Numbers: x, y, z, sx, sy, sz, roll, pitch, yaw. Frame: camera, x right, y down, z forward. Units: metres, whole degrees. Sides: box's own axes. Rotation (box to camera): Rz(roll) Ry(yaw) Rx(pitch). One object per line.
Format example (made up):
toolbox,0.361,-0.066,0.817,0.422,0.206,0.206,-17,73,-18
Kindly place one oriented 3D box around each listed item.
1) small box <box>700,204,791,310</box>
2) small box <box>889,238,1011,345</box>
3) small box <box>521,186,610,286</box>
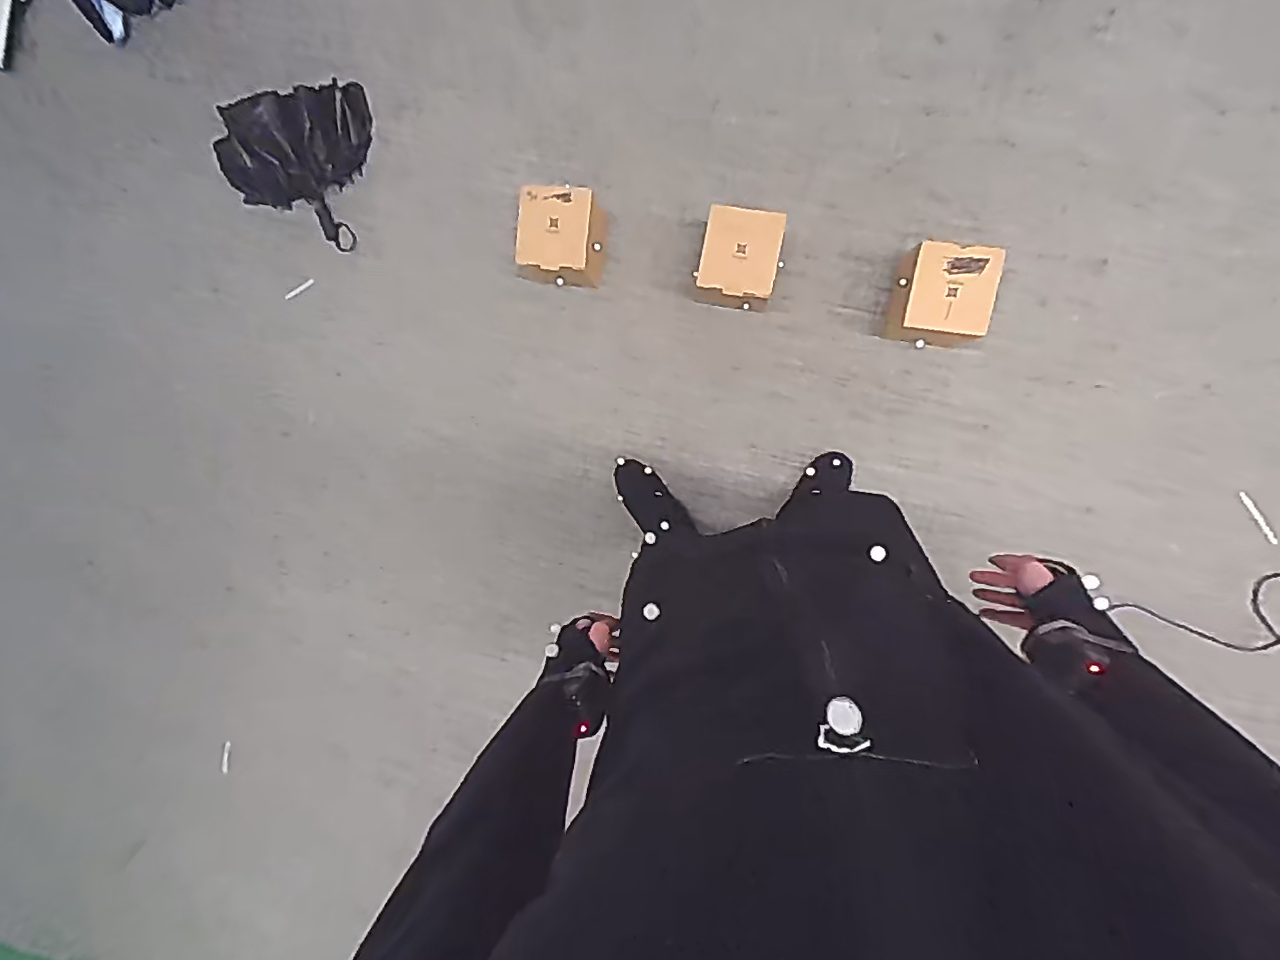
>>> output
small box,0.236,-0.500,1.235,0.168,0.176,0.179,10,96,6
small box,0.662,-0.402,1.178,0.168,0.176,0.179,10,98,8
small box,-0.171,-0.571,1.286,0.168,0.176,0.179,7,98,7
